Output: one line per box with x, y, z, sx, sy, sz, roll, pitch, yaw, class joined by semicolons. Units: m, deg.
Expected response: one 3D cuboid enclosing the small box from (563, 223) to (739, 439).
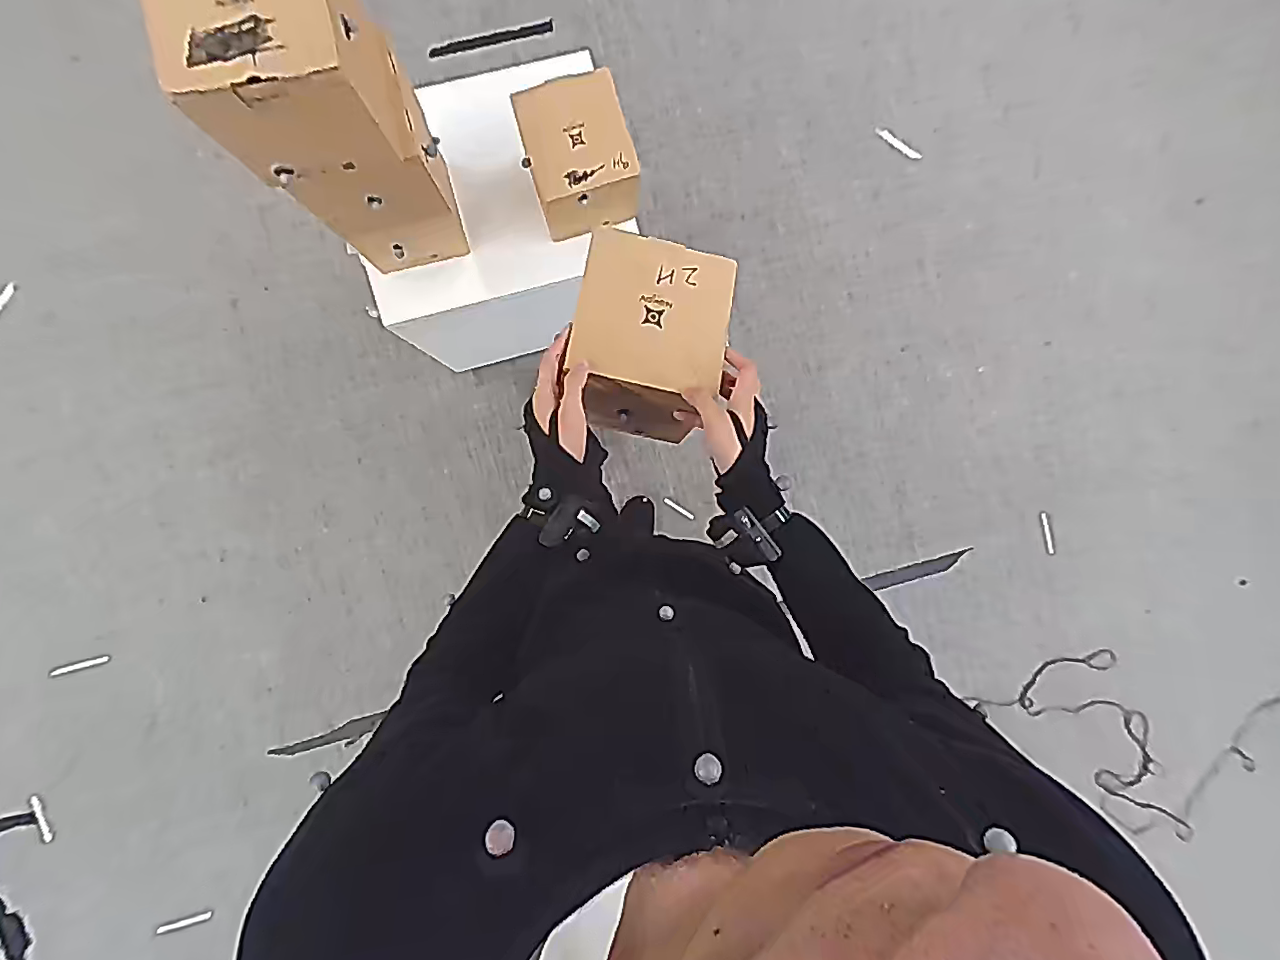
0.003;-0.163;0.651;0.168;0.176;0.179;12;75;-9;small box

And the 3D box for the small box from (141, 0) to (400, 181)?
-0.381;-0.449;0.581;0.168;0.176;0.179;-12;92;-4;small box

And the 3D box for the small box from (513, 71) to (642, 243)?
-0.105;-0.542;0.930;0.168;0.176;0.179;-18;93;-3;small box

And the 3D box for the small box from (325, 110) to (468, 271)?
-0.404;-0.469;0.909;0.168;0.176;0.179;-16;93;-5;small box
